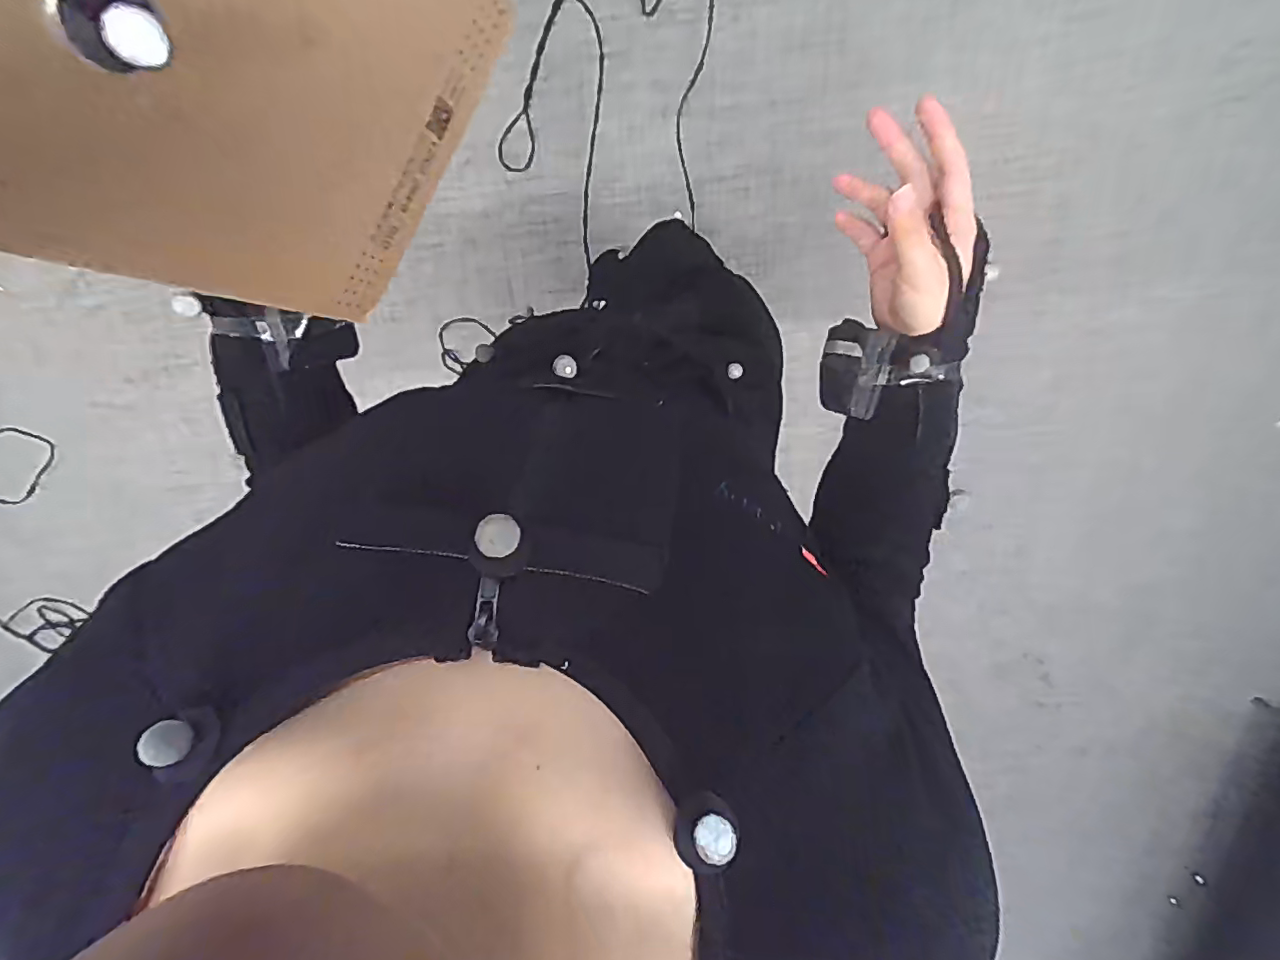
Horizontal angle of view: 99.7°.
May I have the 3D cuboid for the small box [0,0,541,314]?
[{"bbox_3d":[-0.167,-0.180,0.197,0.179,0.176,0.168,34,103,2],"label":"small box"}]
